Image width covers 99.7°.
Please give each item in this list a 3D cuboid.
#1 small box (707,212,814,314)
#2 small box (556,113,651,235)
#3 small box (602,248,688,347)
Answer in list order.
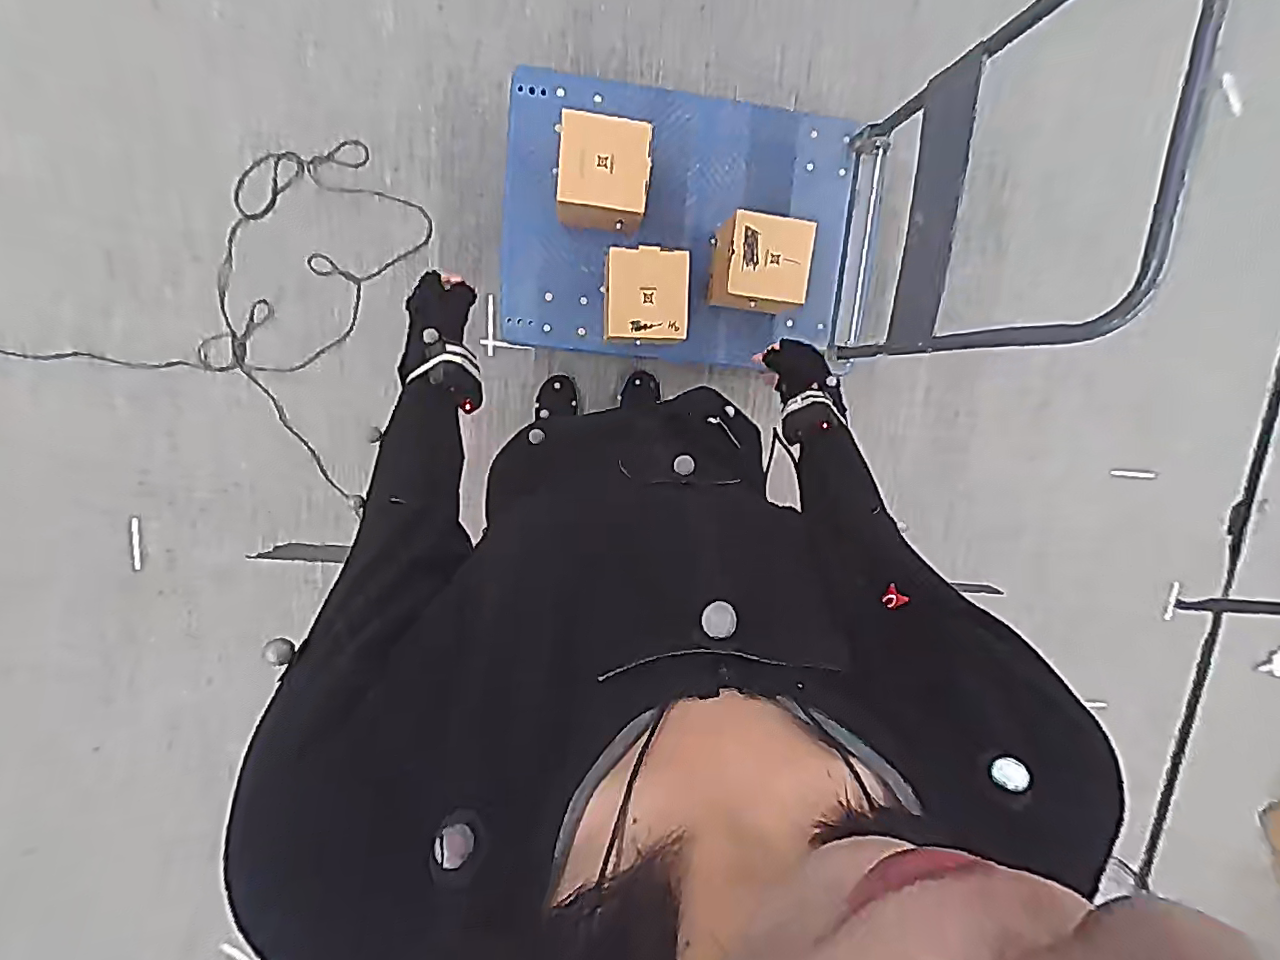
[{"bbox_3d":[0.256,-0.470,1.199,0.179,0.176,0.168,6,99,-9],"label":"small box"},{"bbox_3d":[-0.081,-0.626,1.129,0.179,0.176,0.168,4,99,-8],"label":"small box"},{"bbox_3d":[0.004,-0.391,1.182,0.168,0.176,0.179,0,99,-7],"label":"small box"}]
